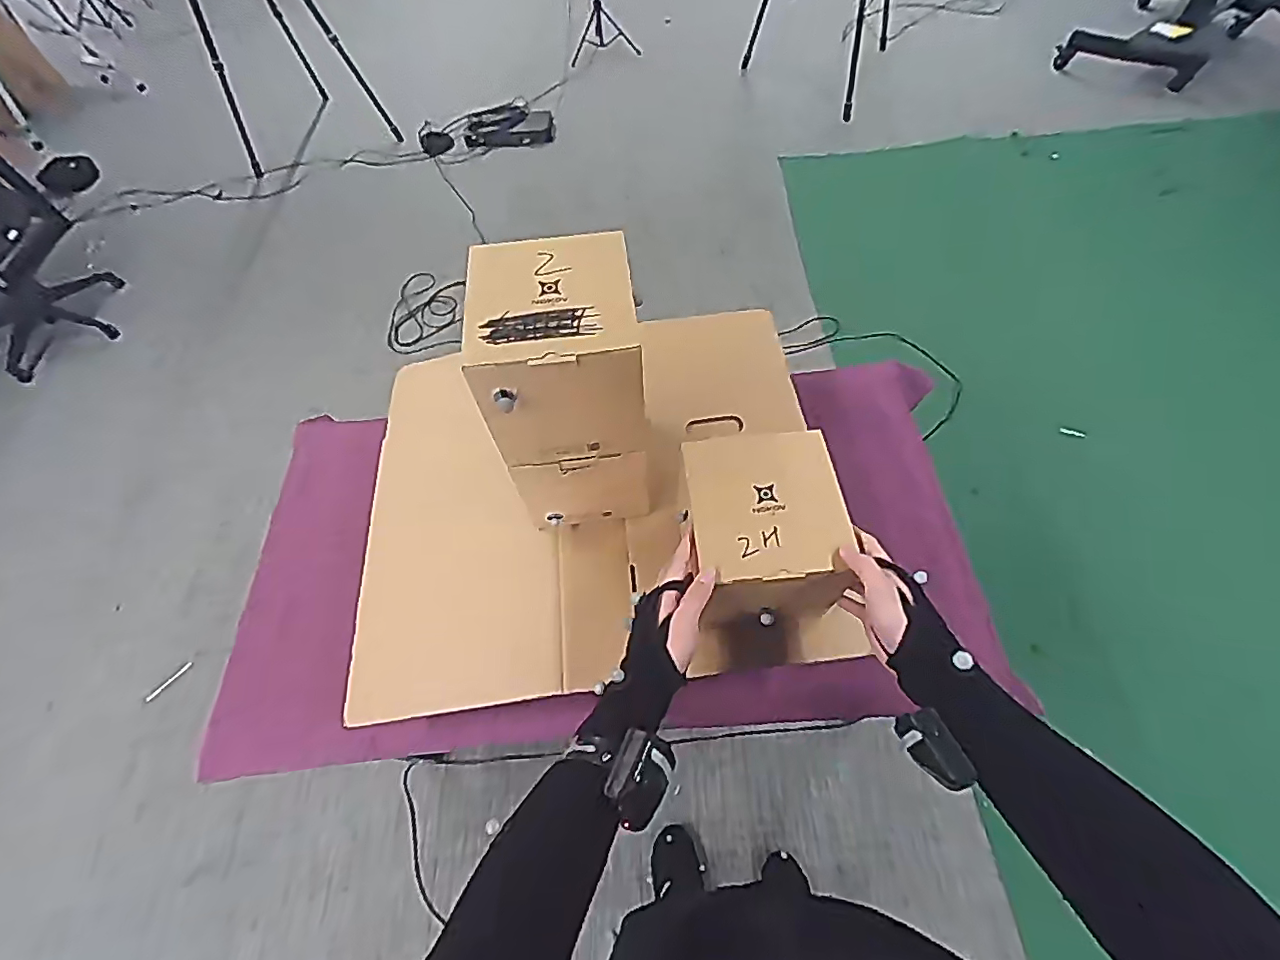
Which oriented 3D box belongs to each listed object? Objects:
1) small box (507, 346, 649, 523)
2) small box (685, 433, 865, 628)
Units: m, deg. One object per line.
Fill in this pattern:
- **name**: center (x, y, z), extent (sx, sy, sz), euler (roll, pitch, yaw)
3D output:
- **small box**: center (-0.078, -0.053, 0.734), extent (0.168, 0.176, 0.179), euler (-7, 59, -2)
- **small box**: center (0.144, 0.066, 0.651), extent (0.168, 0.176, 0.179), euler (-6, 61, 1)
